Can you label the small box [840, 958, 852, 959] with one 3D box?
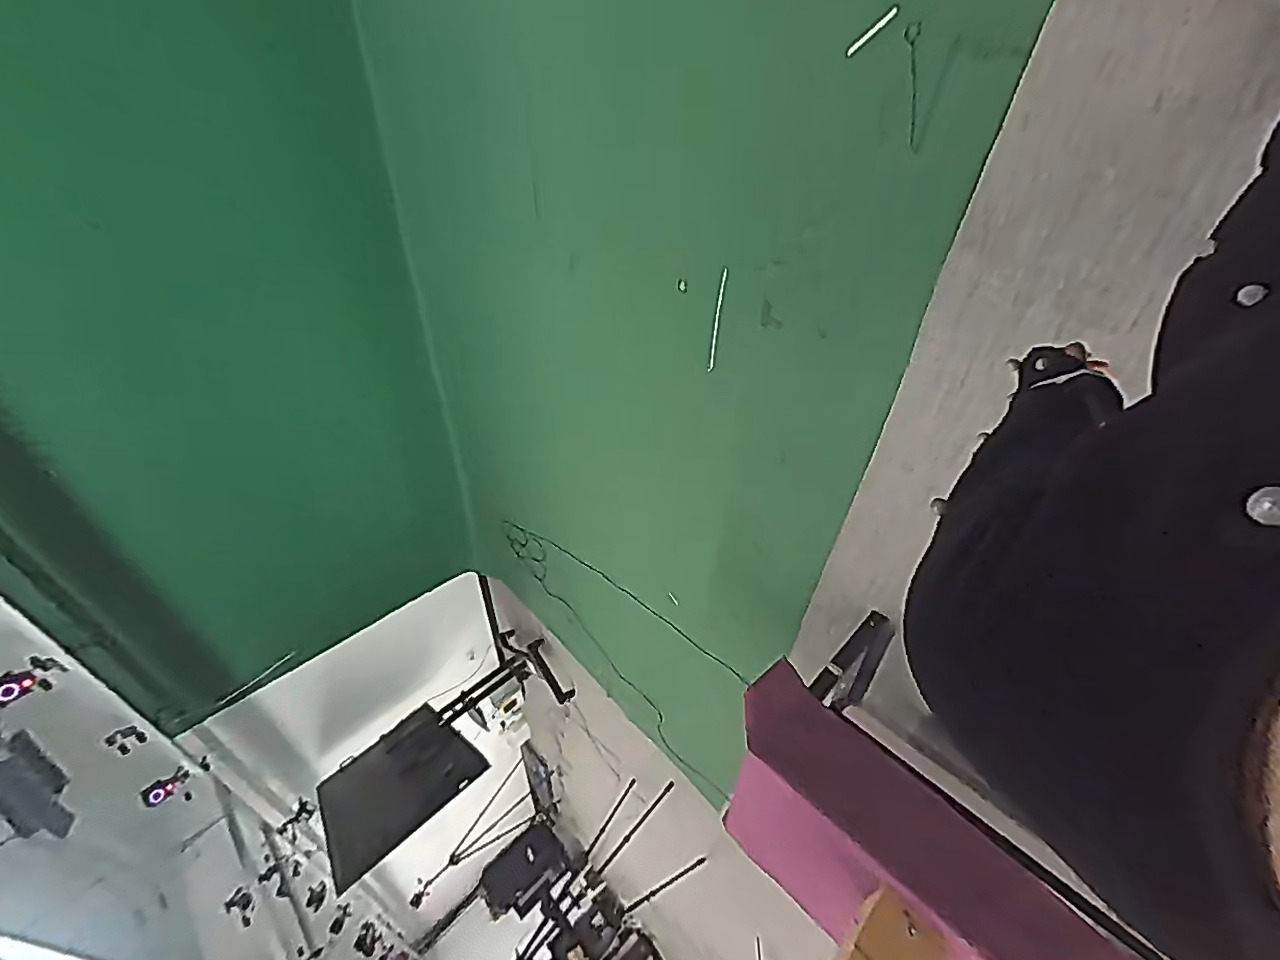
[{"bbox_3d":[0.463,1.205,1.188,0.168,0.176,0.179,37,141,31],"label":"small box"}]
